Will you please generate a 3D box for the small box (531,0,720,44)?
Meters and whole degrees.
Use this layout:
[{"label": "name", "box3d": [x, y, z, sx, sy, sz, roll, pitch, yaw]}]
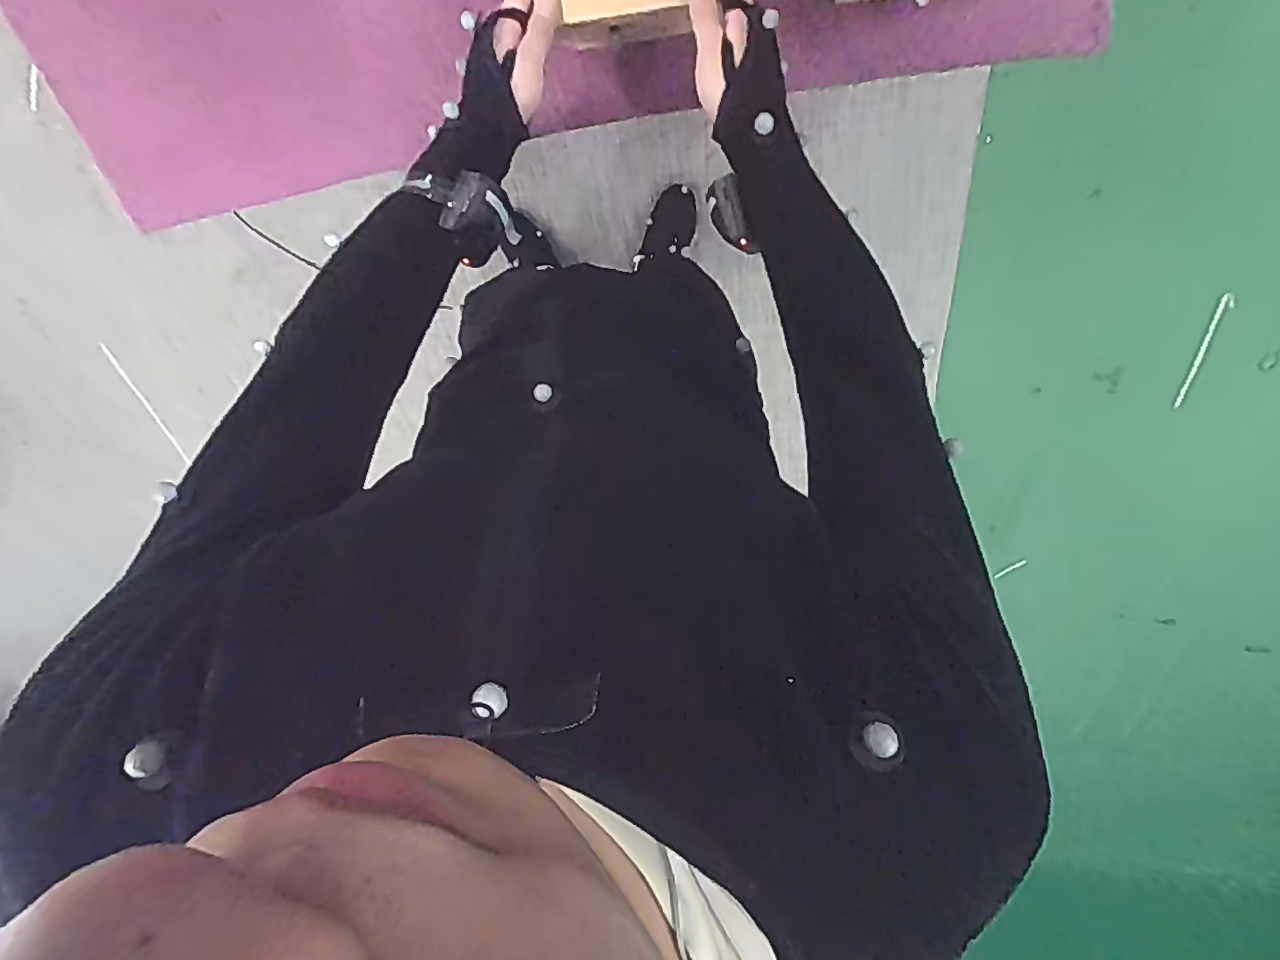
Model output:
[{"label": "small box", "box3d": [-0.012, -0.520, 0.490, 0.168, 0.176, 0.179, -2, 122, 9]}]
